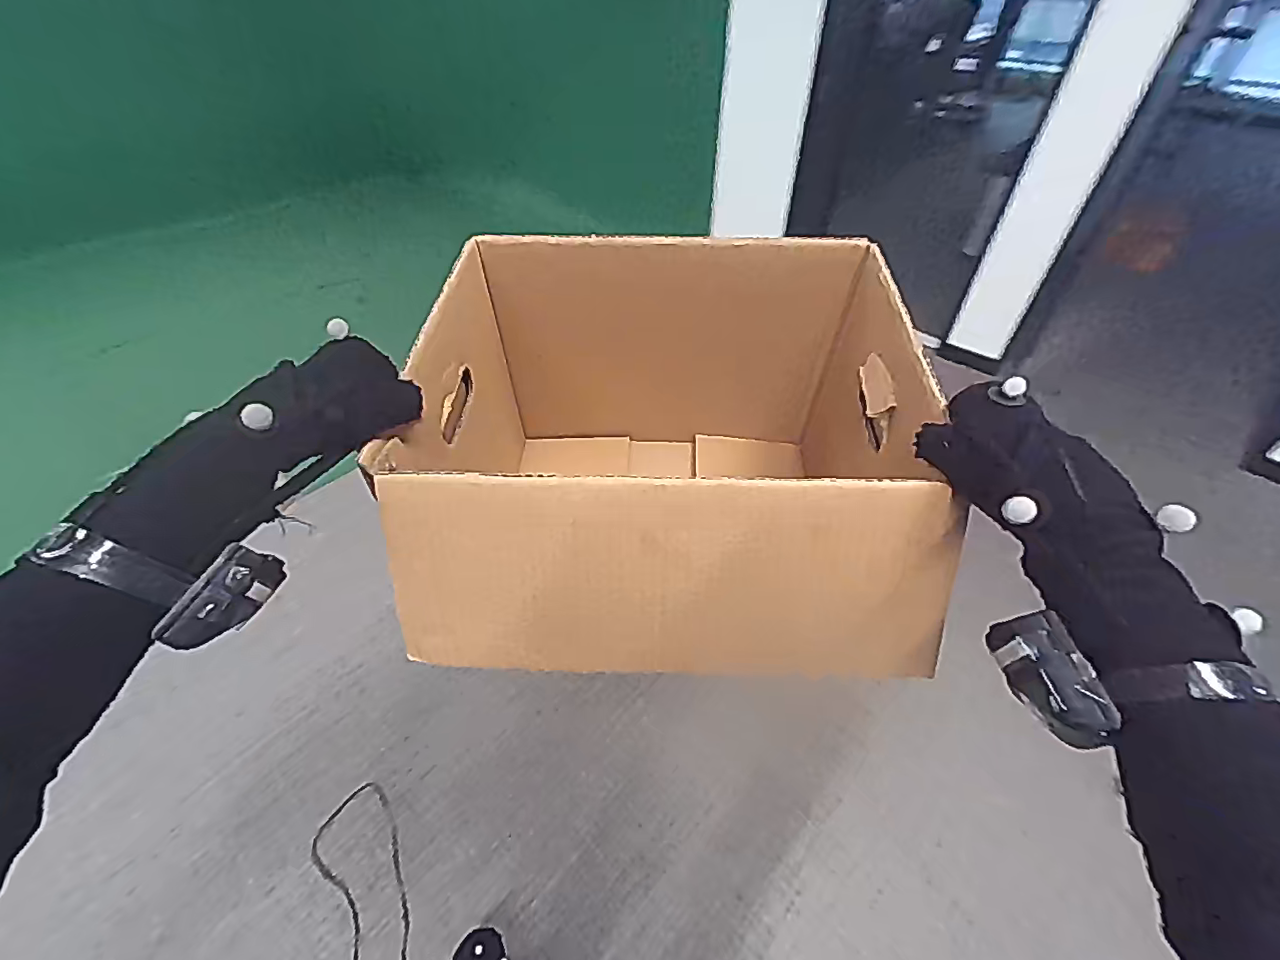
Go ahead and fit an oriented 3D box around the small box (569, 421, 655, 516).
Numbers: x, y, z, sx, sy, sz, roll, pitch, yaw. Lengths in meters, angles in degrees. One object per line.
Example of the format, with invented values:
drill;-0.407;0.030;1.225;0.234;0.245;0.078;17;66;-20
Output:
small box;-0.074;-0.031;1.505;0.168;0.176;0.179;-36;53;-29
